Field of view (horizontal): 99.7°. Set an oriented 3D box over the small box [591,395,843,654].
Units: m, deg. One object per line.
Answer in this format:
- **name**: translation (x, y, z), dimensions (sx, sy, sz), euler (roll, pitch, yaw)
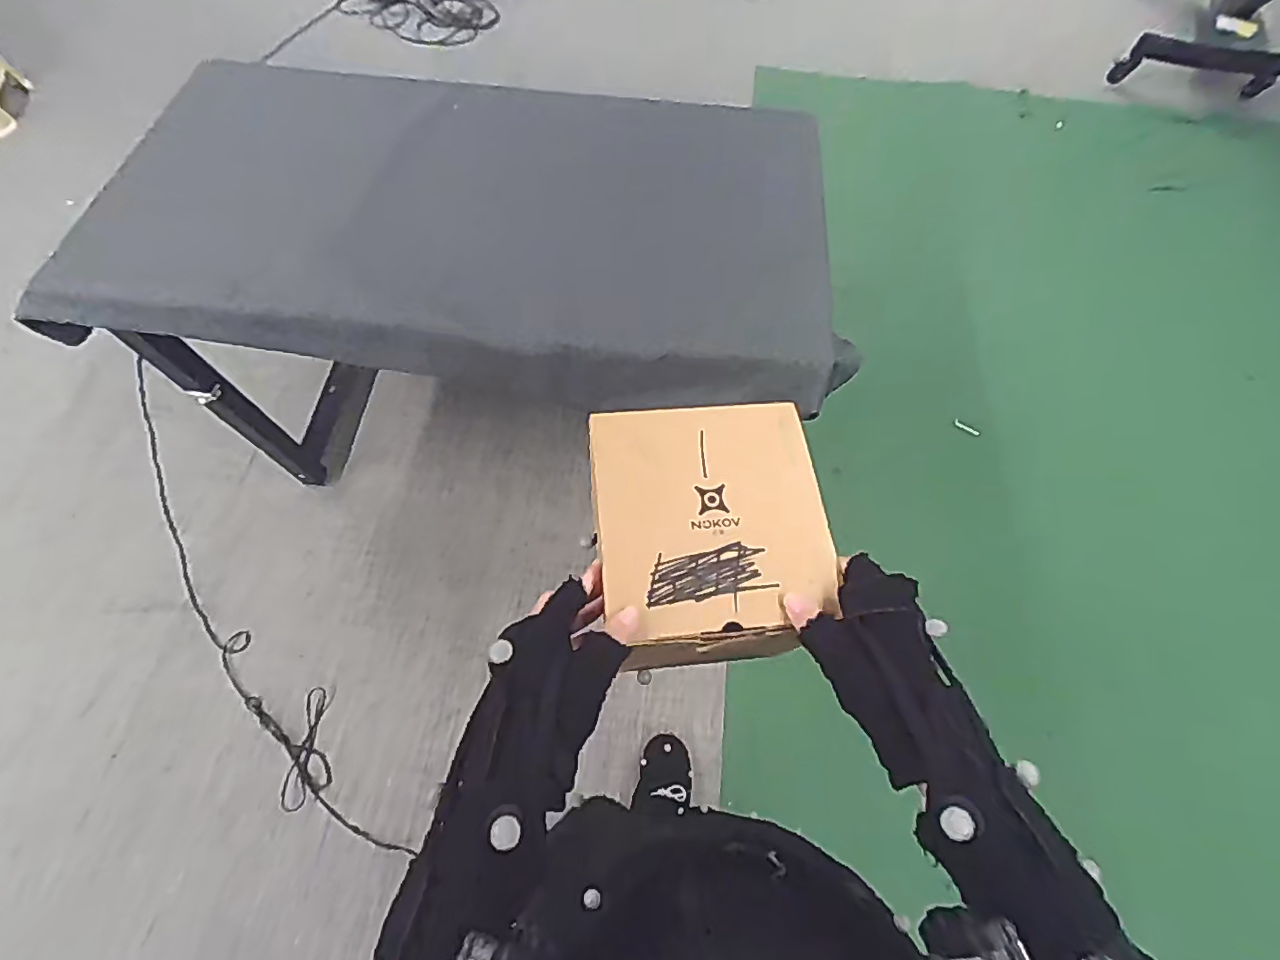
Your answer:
- **small box**: translation (0.047, 0.049, 0.467), dimensions (0.168, 0.176, 0.179), euler (-4, 65, -6)
